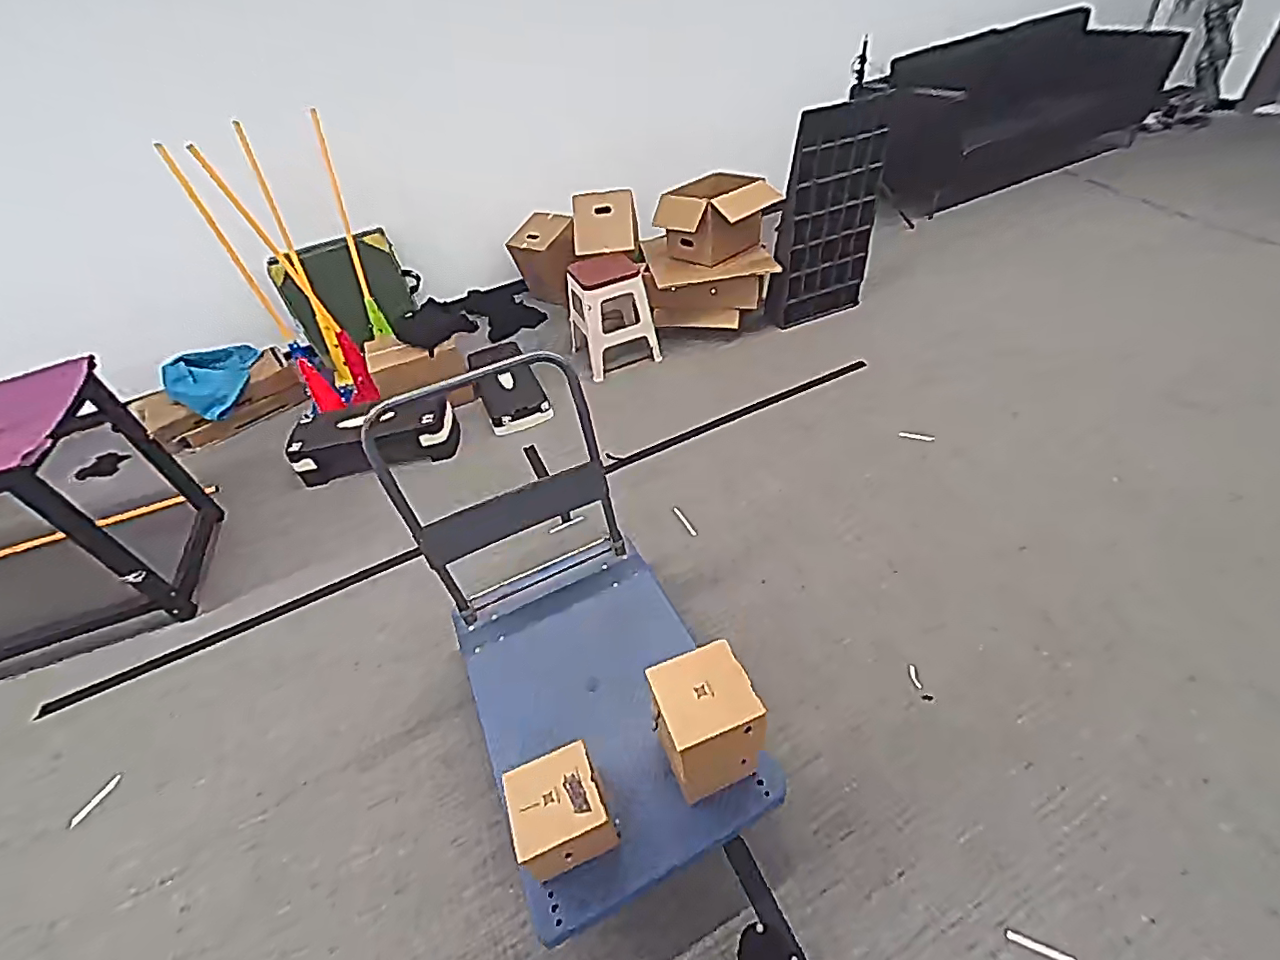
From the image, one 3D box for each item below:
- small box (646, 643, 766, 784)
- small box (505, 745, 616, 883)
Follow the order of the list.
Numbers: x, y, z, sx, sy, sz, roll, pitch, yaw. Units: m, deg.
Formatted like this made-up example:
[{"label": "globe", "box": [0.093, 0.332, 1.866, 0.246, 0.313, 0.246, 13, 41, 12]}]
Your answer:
[{"label": "small box", "box": [0.128, 0.457, 1.054, 0.179, 0.176, 0.168, -18, 44, -11]}, {"label": "small box", "box": [-0.155, 0.681, 1.103, 0.179, 0.176, 0.168, -20, 44, -10]}]
